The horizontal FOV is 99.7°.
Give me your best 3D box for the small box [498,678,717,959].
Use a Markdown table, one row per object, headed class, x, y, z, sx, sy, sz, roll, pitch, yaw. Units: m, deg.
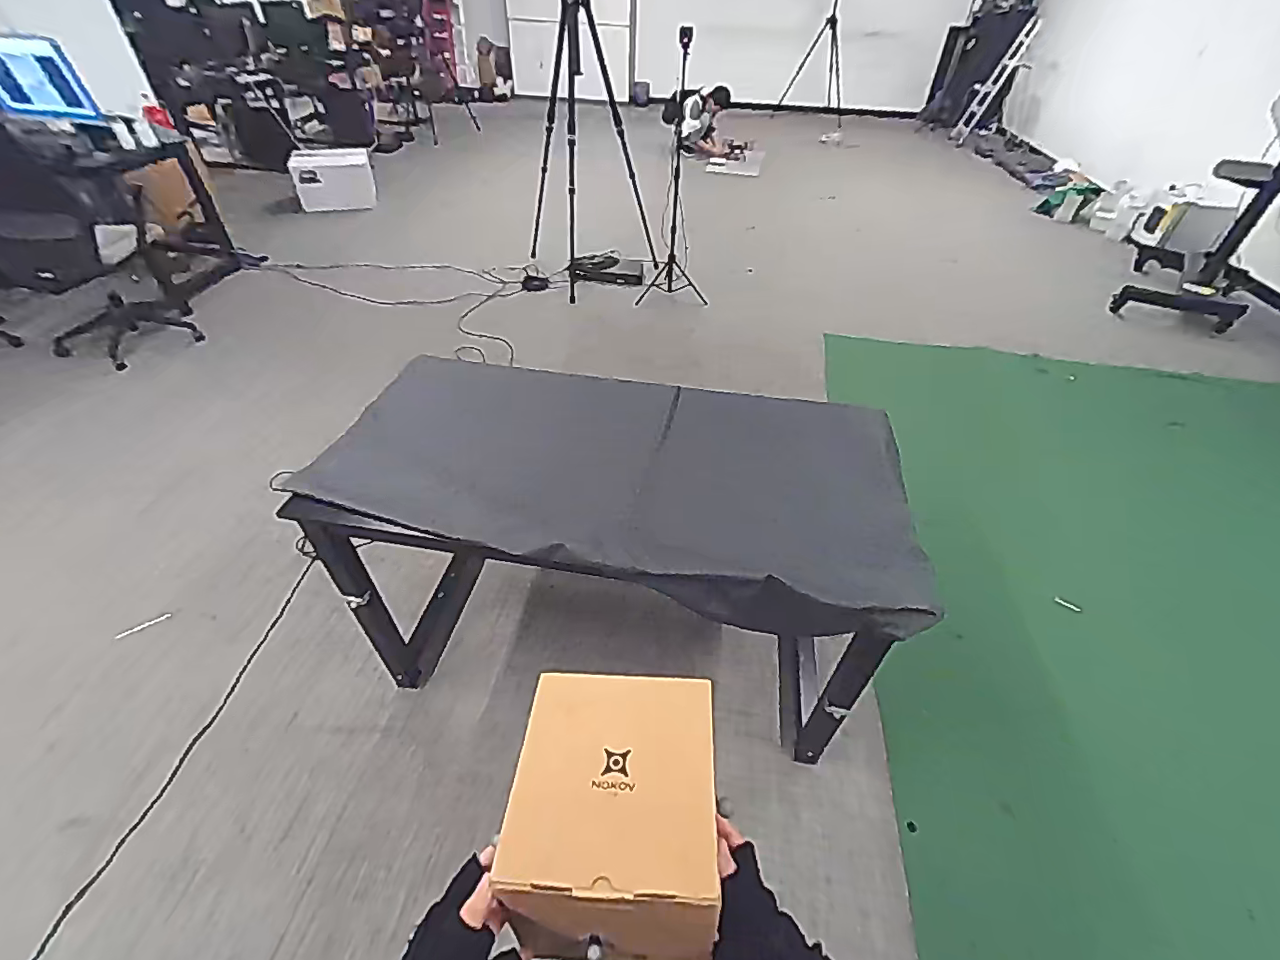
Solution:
| class | x | y | z | sx | sy | sz | roll | pitch | yaw |
| --- | --- | --- | --- | --- | --- | --- | --- | --- | --- |
| small box | -0.018 | 0.314 | 0.507 | 0.168 | 0.176 | 0.179 | 1 | 37 | 4 |
